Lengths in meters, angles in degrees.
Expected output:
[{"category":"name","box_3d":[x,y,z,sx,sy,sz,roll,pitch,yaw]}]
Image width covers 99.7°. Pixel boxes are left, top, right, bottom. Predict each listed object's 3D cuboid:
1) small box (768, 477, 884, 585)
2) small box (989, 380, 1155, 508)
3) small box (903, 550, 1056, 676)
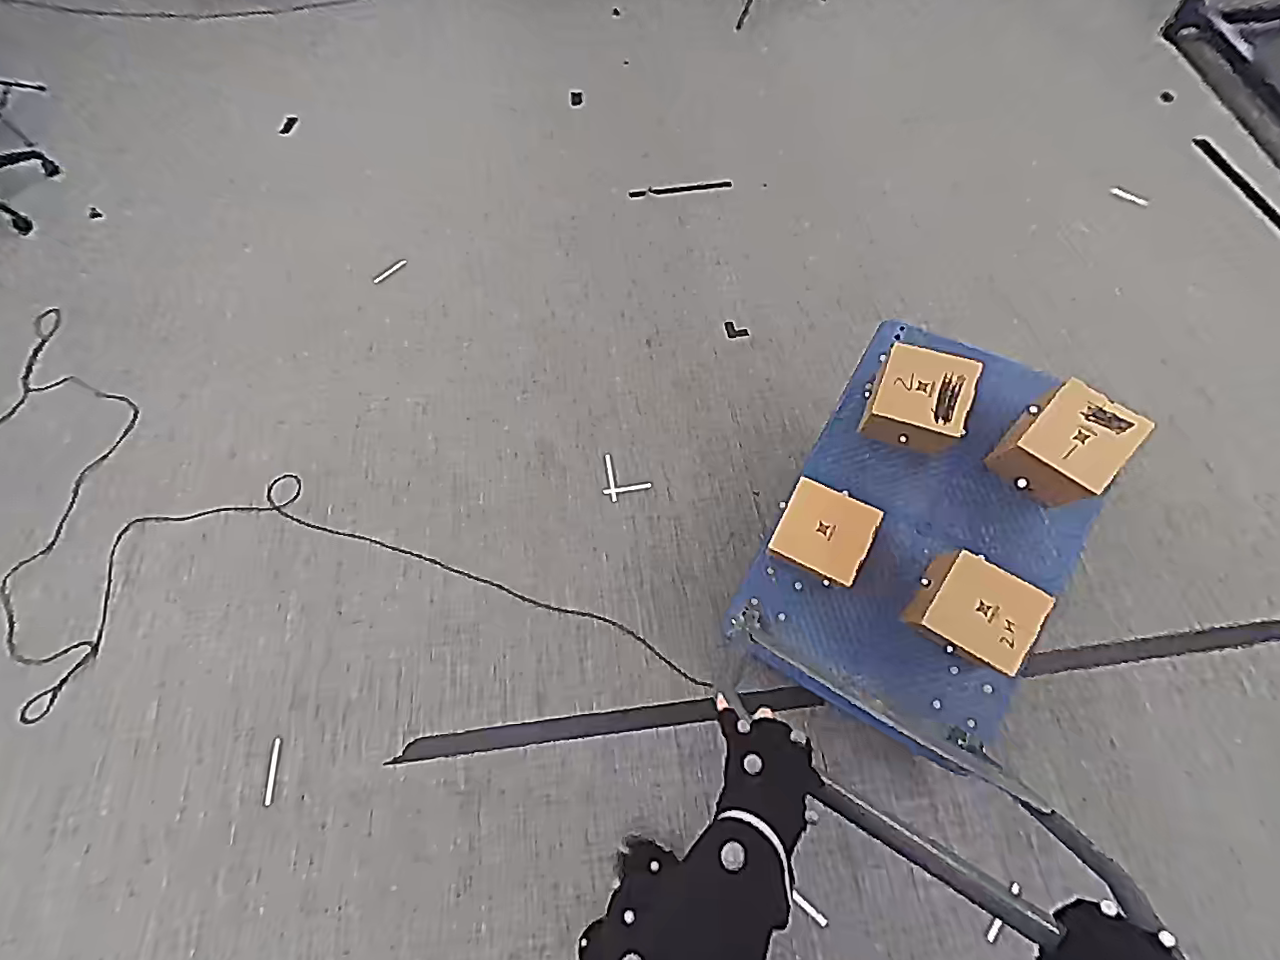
[{"category":"small box","box_3d":[0.385,0.116,1.156,0.179,0.176,0.168,26,84,14]},{"category":"small box","box_3d":[0.858,-0.066,1.097,0.168,0.176,0.179,40,89,17]},{"category":"small box","box_3d":[0.653,0.260,1.068,0.179,0.176,0.168,32,86,16]}]
